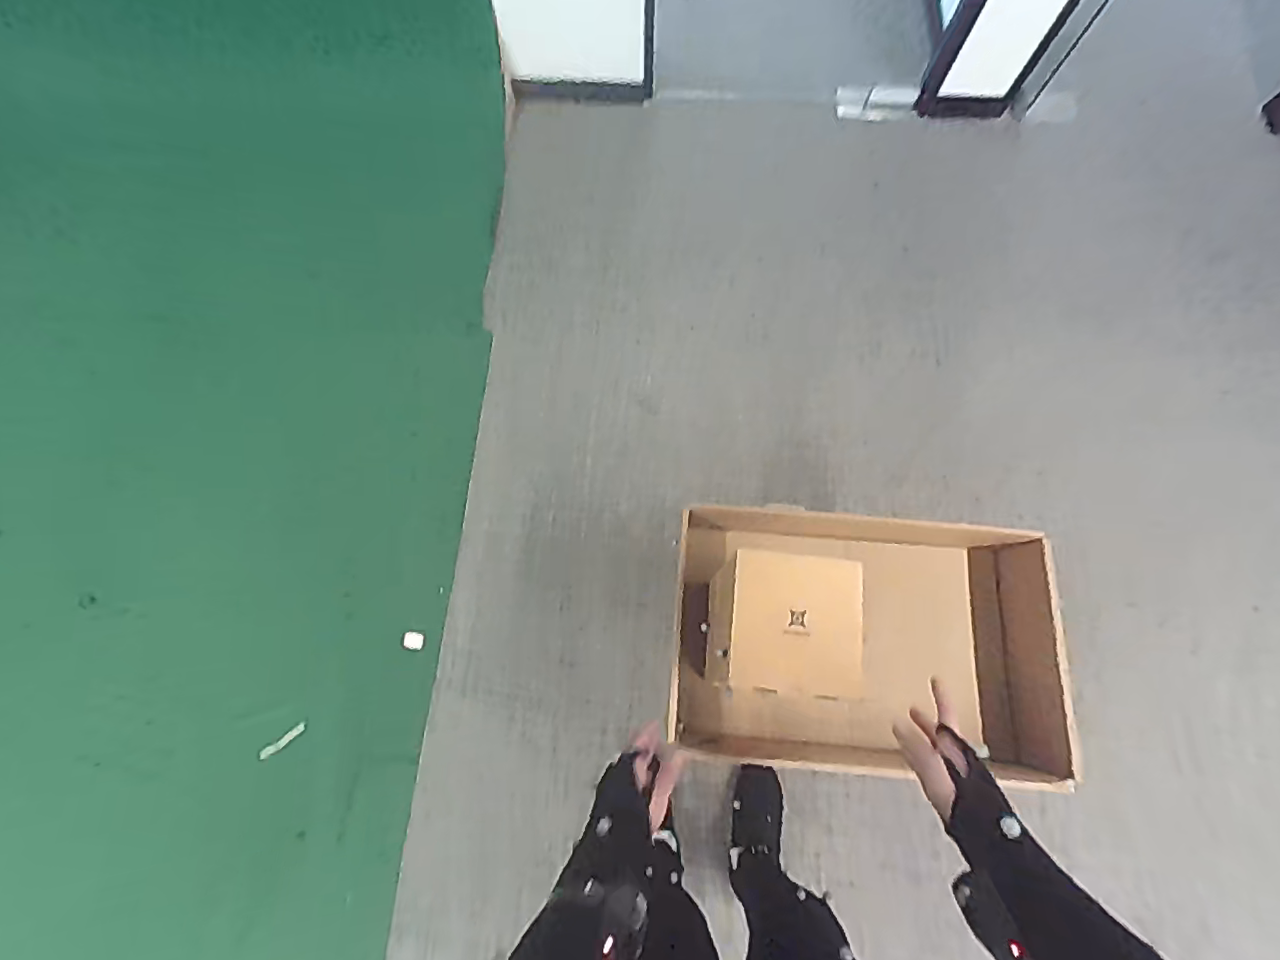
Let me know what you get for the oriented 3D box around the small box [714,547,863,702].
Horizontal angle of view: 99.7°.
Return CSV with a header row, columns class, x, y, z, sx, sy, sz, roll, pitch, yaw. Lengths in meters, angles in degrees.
class,x,y,z,sx,sy,sz,roll,pitch,yaw
small box,0.199,0.203,0.761,0.168,0.176,0.179,6,73,2
